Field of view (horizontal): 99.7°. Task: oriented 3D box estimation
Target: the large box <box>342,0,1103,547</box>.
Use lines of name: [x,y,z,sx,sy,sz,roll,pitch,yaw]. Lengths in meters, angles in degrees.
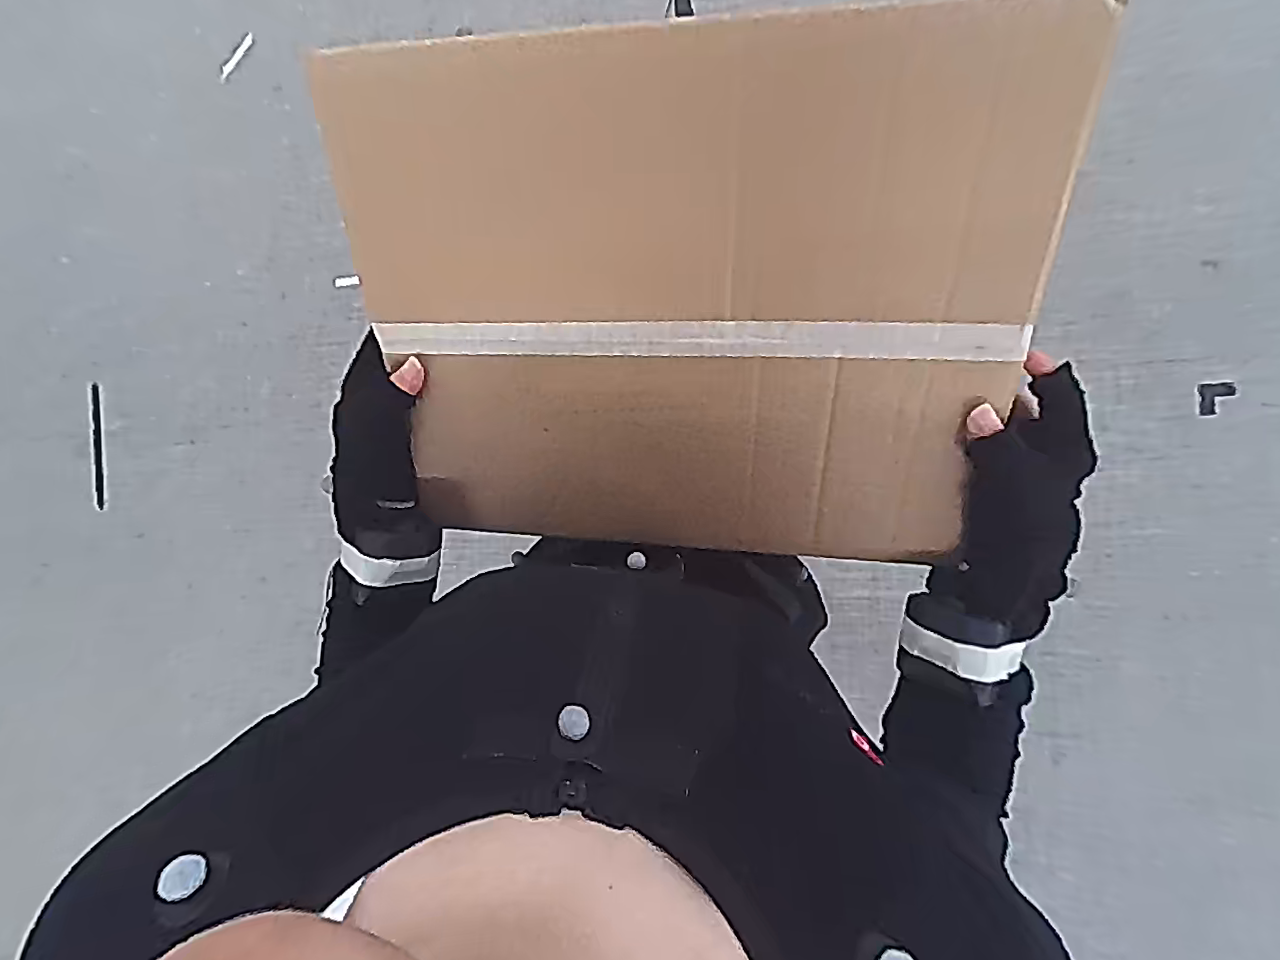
large box: [0.048,-0.164,0.479,0.408,0.320,0.320,4,119,9]
